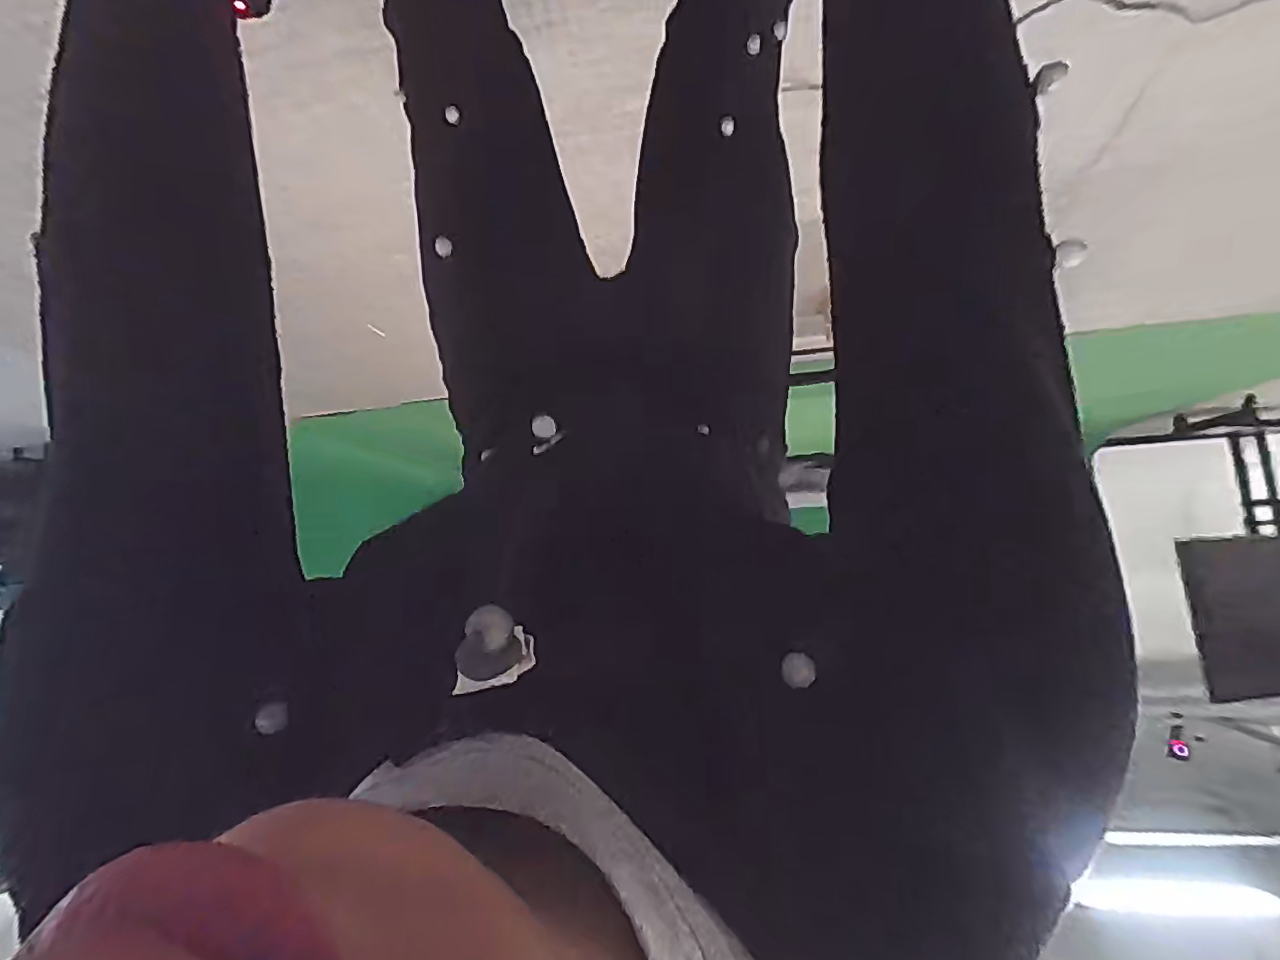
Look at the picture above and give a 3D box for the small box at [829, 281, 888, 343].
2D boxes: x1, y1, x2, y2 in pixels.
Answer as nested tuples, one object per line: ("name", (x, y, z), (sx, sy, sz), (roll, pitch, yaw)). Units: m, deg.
("small box", (0.795, -0.619, 1.985), (0.168, 0.176, 0.179), (-2, 174, 8))
